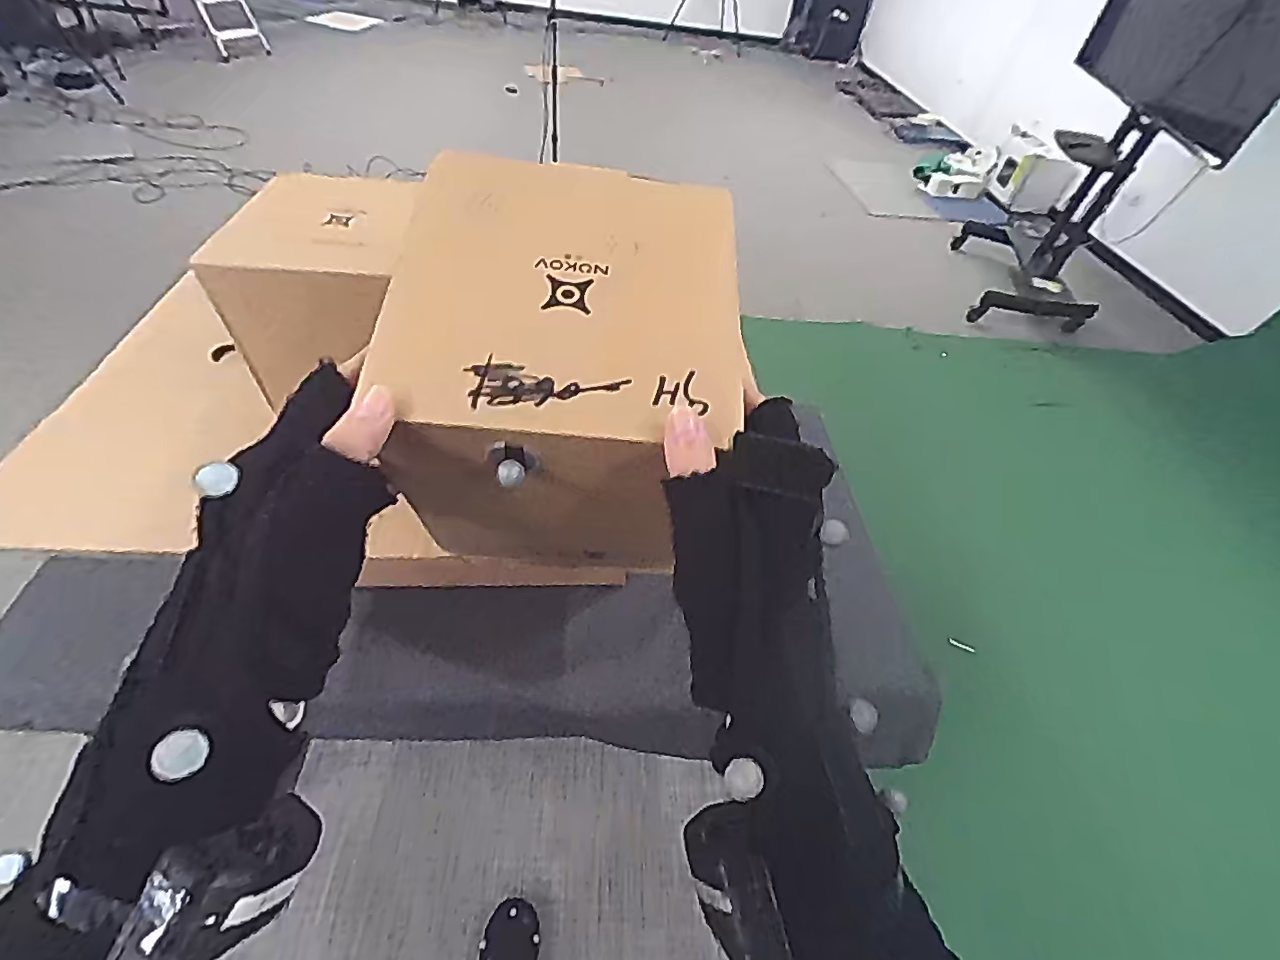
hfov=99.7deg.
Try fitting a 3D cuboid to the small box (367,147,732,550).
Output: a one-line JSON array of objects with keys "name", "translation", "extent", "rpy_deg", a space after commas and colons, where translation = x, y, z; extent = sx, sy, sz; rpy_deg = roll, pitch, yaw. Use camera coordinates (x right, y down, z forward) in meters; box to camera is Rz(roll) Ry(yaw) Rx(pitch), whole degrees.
[{"name": "small box", "translation": [-0.042, -0.071, 0.348], "extent": [0.168, 0.176, 0.179], "rpy_deg": [5, 62, -3]}]

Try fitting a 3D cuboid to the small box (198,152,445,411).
[{"name": "small box", "translation": [-0.259, -0.187, 0.523], "extent": [0.168, 0.176, 0.179], "rpy_deg": [2, 51, -5]}]
